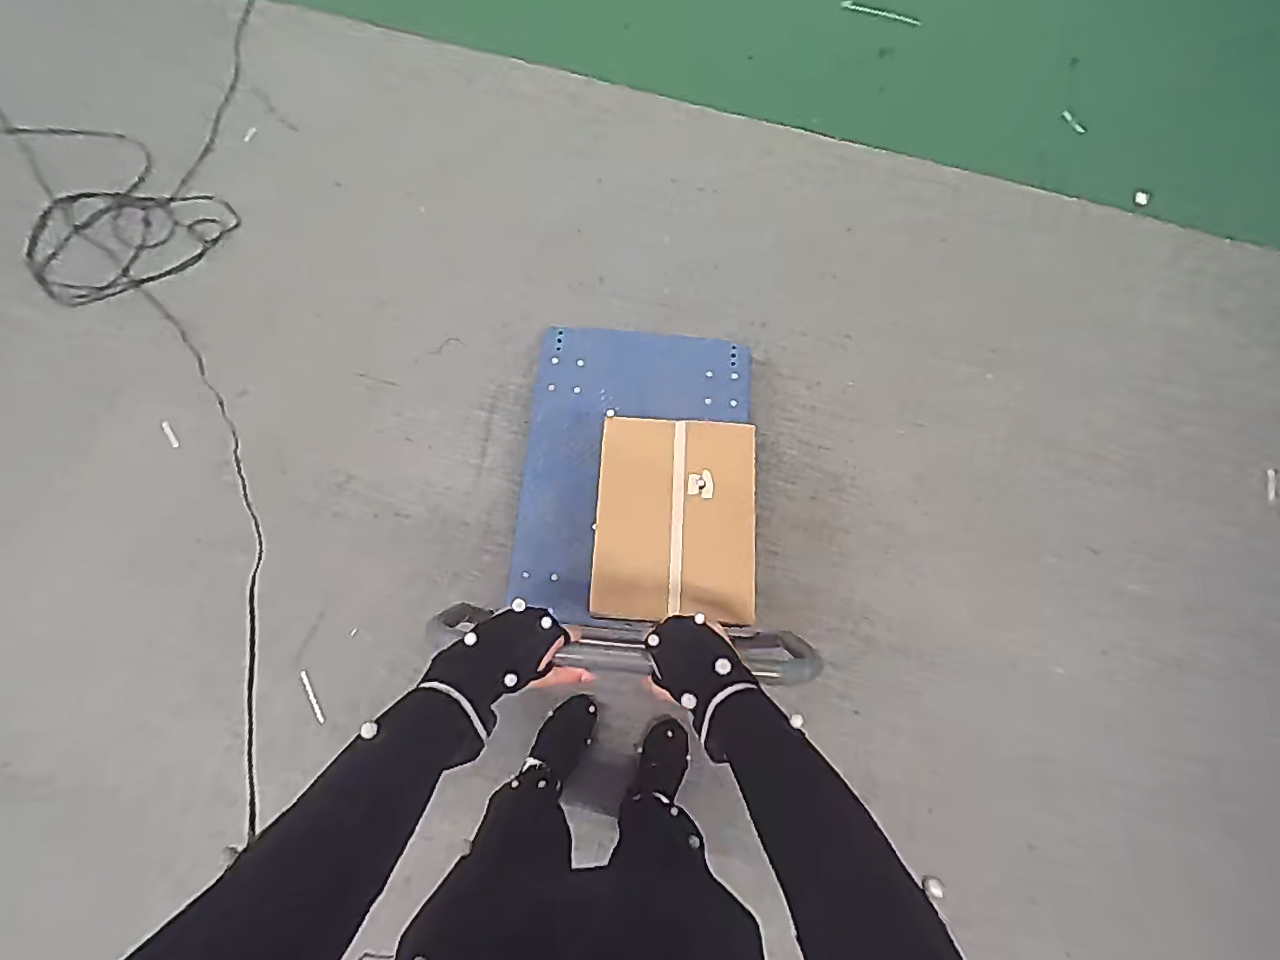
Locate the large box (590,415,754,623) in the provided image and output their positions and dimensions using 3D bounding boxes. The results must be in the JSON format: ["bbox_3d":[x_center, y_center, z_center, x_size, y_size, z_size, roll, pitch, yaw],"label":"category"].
[{"bbox_3d":[0.066,0.105,1.201,0.320,0.320,0.408,4,74,-1],"label":"large box"}]
